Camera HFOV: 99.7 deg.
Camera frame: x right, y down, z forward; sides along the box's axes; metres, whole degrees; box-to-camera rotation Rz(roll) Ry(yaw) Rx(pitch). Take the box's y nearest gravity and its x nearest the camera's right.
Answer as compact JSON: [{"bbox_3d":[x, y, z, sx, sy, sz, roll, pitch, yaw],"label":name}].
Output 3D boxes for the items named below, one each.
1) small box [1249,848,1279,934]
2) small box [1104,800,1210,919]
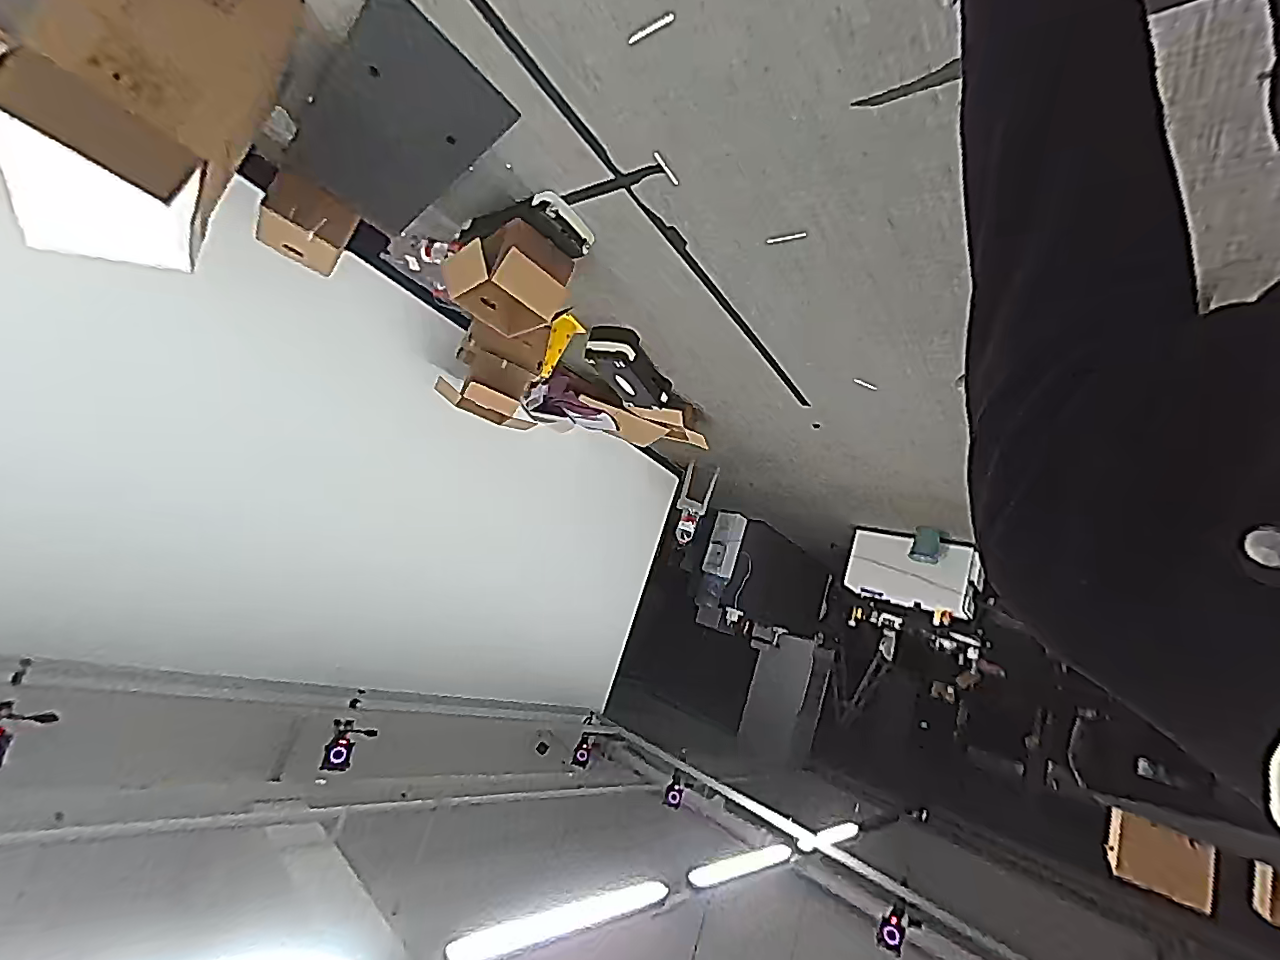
[{"bbox_3d":[1.647,1.043,1.329,0.168,0.176,0.179,8,164,41],"label":"small box"},{"bbox_3d":[1.257,0.912,1.321,0.168,0.176,0.179,8,167,38],"label":"small box"}]
